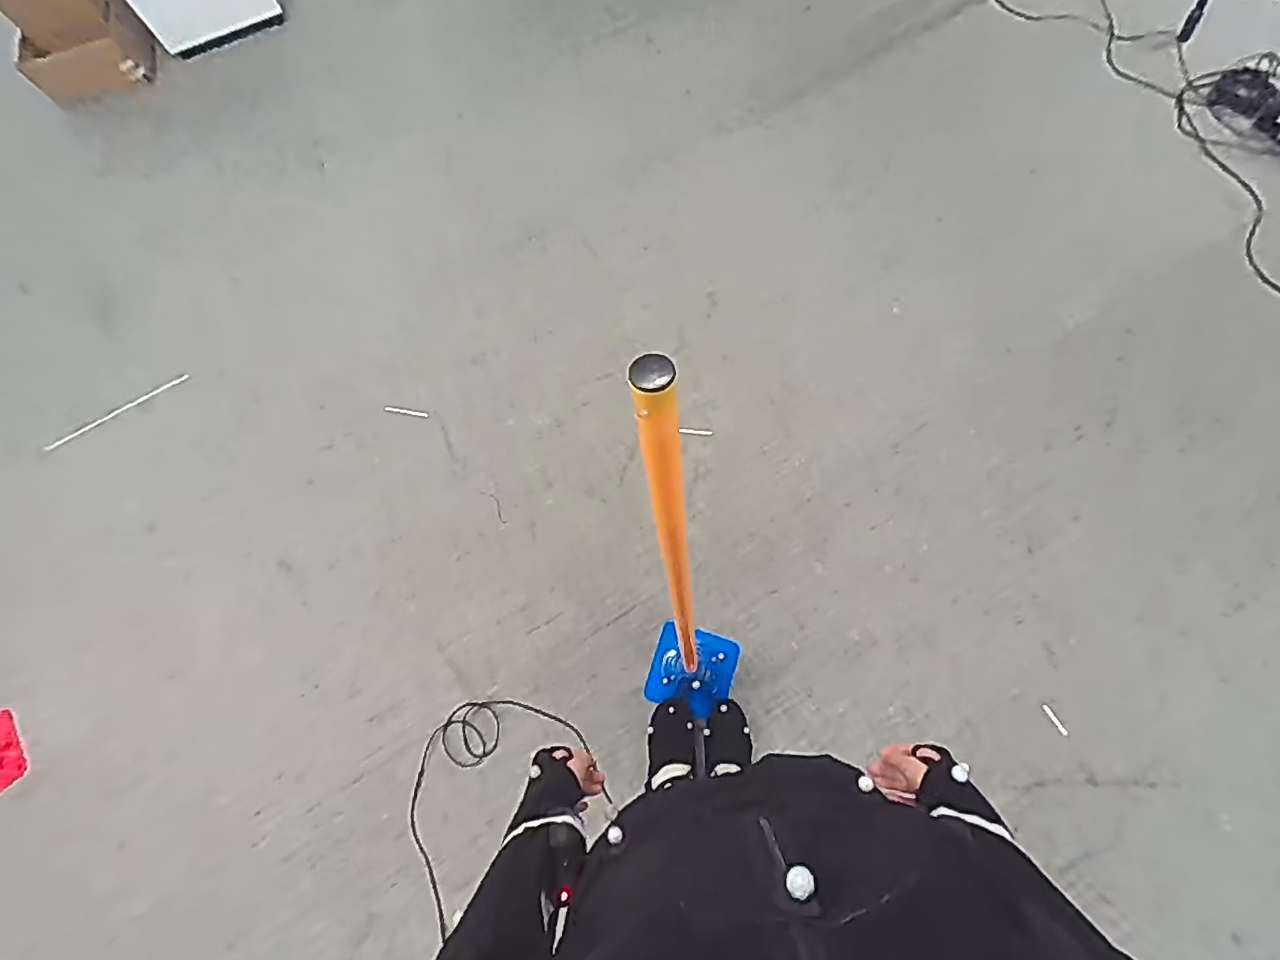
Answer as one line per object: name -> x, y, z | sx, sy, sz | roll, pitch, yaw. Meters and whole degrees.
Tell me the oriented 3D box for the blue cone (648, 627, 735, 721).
blue cone -> 0.111, 0.407, 1.157 | 0.192, 0.380, 0.193 | 15, 71, 10
